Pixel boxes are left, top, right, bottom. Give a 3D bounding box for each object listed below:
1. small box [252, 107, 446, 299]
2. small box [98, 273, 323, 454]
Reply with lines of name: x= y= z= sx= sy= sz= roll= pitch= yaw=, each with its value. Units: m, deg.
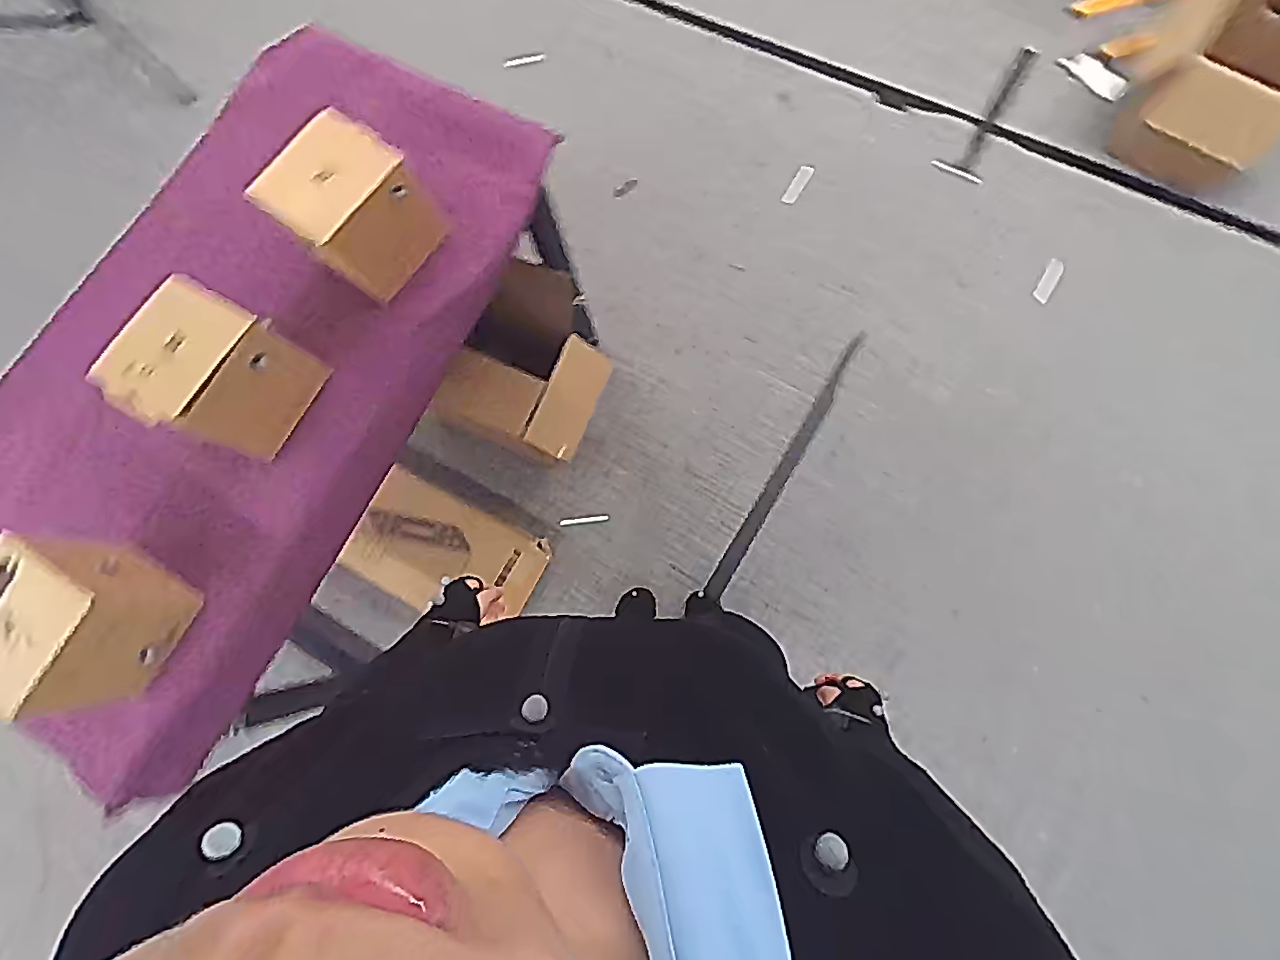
small box: x=-0.444 y=-0.426 z=0.858 sx=0.168 sy=0.176 sz=0.179 roll=35 pitch=82 yaw=11
small box: x=-0.621 y=-0.165 z=0.812 sx=0.168 sy=0.176 sz=0.179 roll=28 pitch=81 yaw=12
